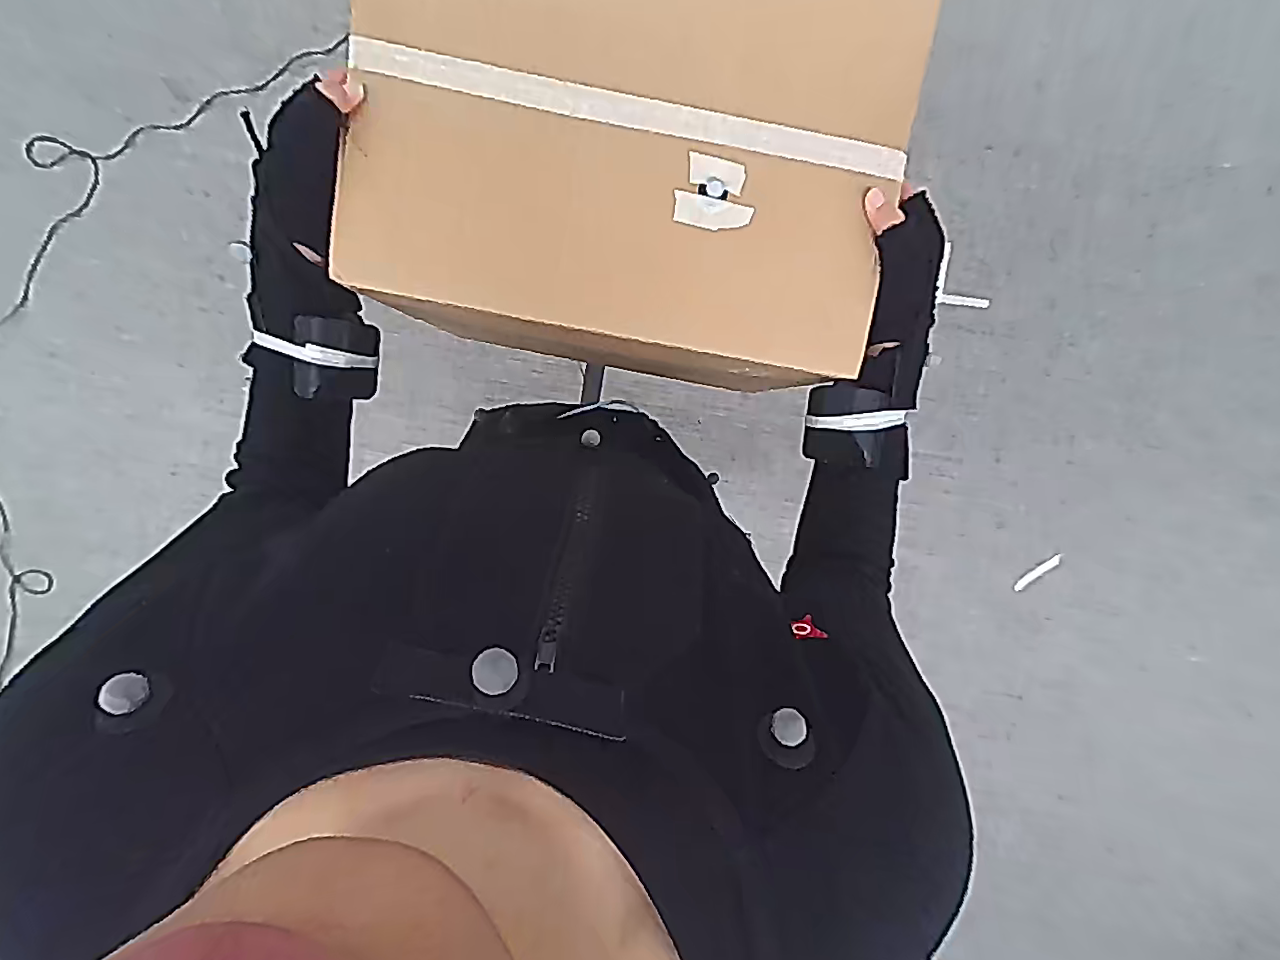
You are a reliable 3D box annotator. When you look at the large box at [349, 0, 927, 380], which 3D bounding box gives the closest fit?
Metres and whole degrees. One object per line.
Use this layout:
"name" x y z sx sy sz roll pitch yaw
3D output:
"large box" -0.011 -0.292 0.548 0.408 0.320 0.320 10 98 -4
